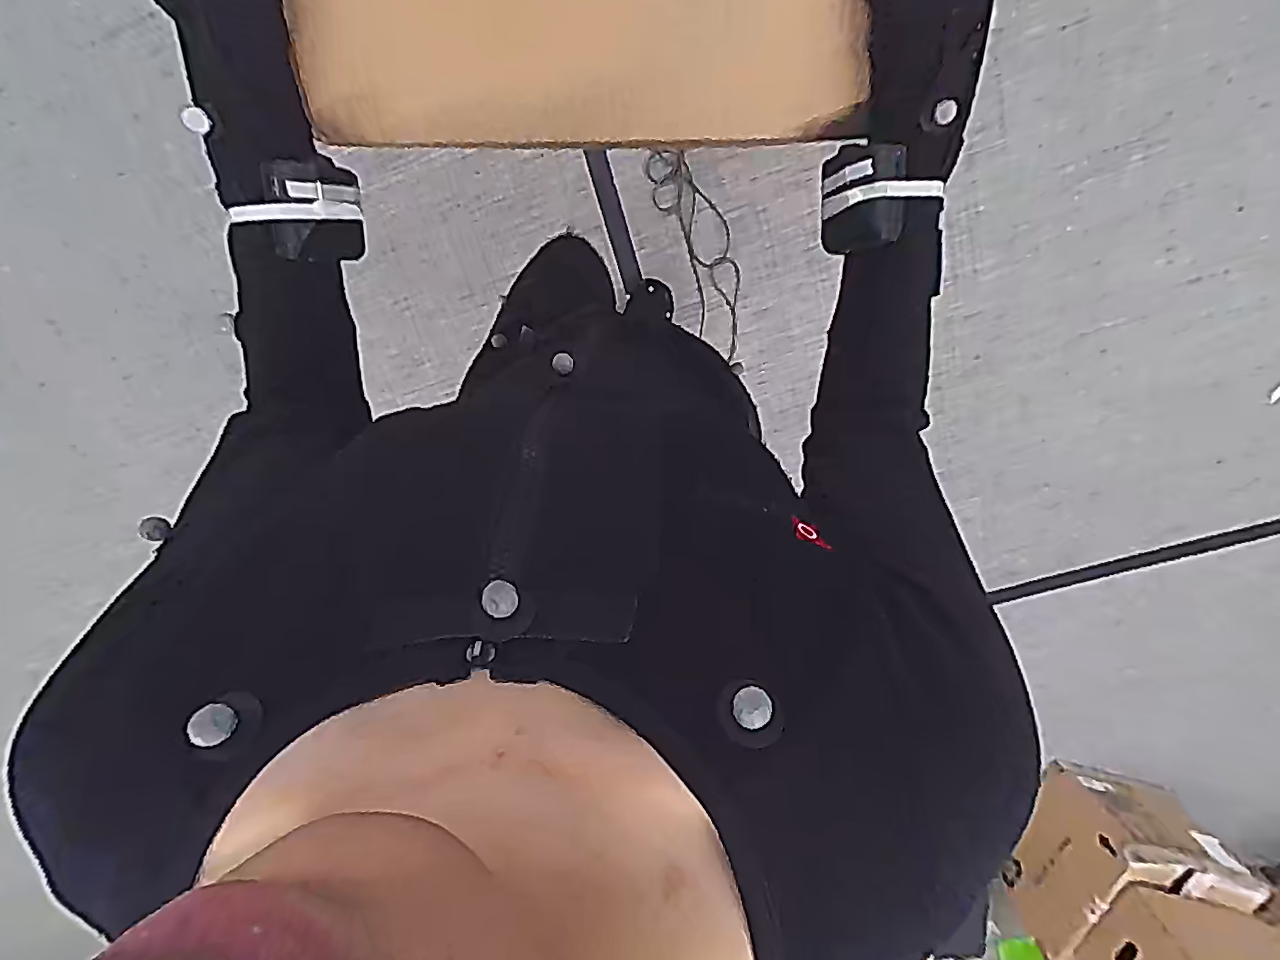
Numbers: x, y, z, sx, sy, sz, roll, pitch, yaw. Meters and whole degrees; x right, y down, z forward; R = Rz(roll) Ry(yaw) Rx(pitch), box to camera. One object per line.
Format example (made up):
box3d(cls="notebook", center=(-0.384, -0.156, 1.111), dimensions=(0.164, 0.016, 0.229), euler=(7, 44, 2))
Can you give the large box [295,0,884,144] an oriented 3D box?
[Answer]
box3d(cls="large box", center=(-0.038, -0.469, 0.448), dimensions=(0.408, 0.320, 0.320), euler=(-1, 121, -1))
